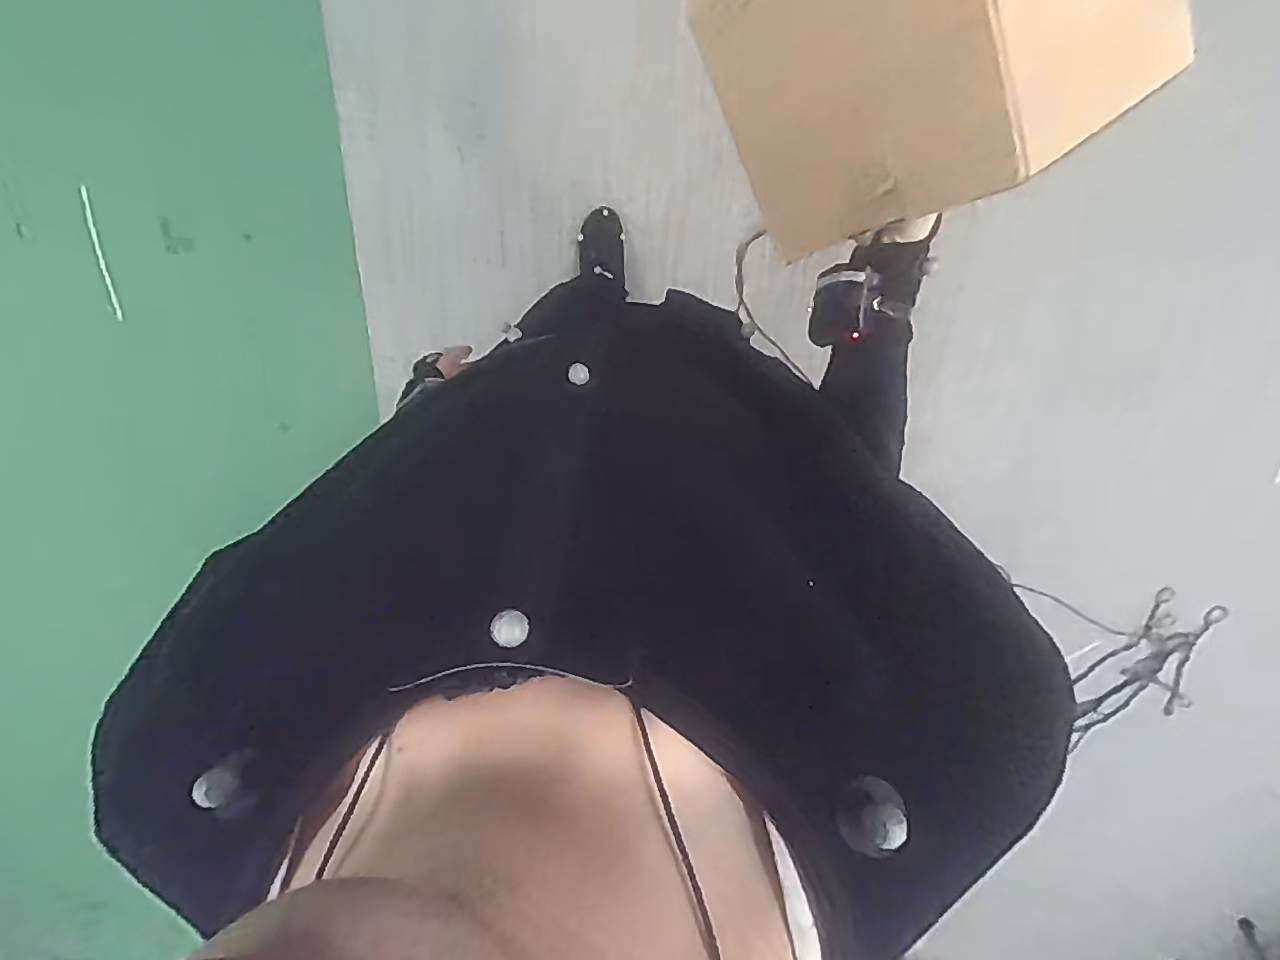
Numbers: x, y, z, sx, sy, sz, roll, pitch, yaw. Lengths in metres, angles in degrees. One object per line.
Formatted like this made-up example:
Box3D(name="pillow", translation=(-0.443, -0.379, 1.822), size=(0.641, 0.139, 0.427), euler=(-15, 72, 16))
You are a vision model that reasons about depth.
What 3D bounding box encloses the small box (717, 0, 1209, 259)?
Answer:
Box3D(name="small box", translation=(0.175, -0.261, 0.311), size=(0.179, 0.168, 0.176), euler=(-36, 112, -19))
